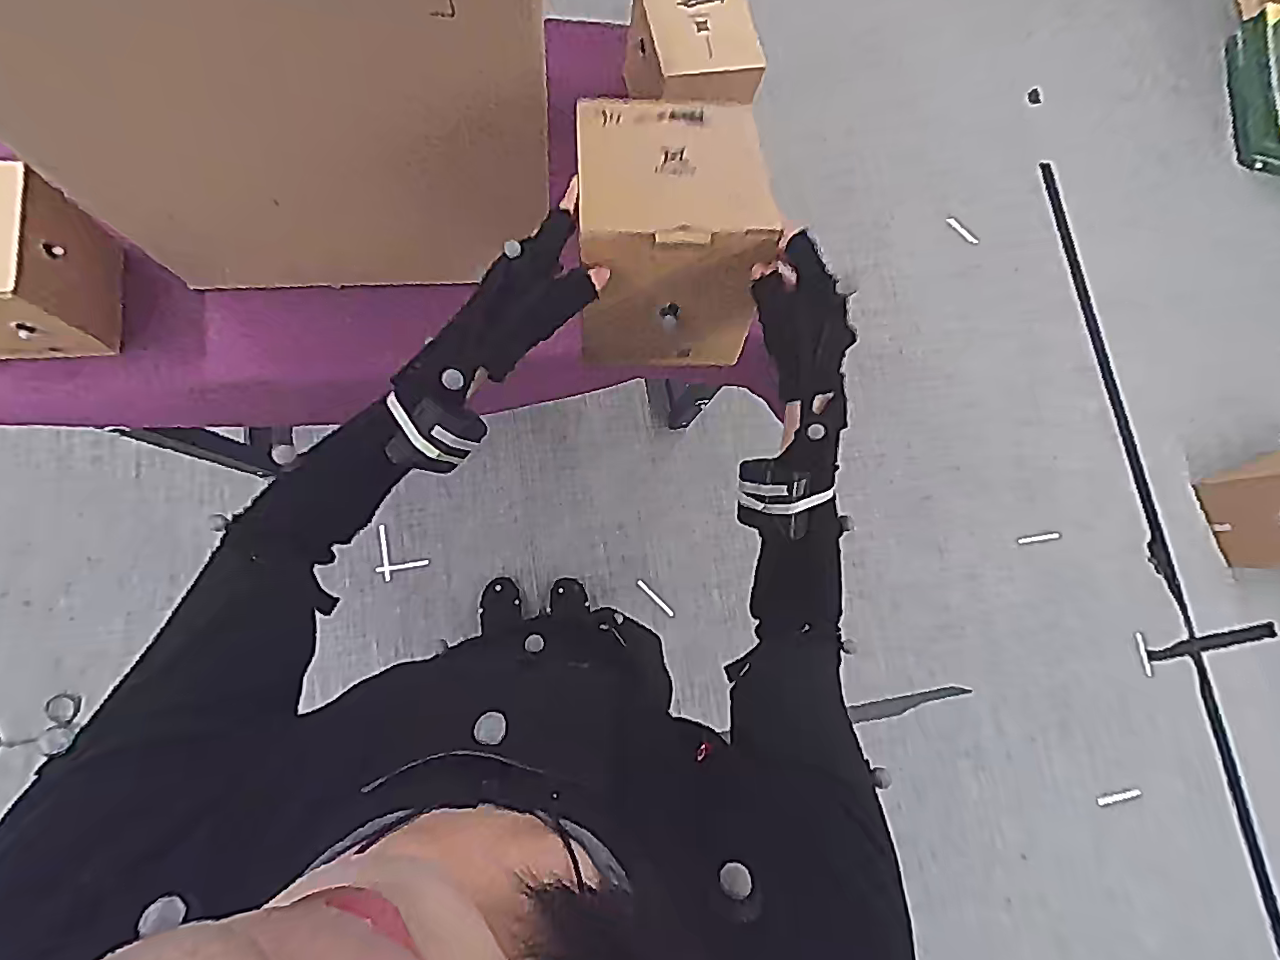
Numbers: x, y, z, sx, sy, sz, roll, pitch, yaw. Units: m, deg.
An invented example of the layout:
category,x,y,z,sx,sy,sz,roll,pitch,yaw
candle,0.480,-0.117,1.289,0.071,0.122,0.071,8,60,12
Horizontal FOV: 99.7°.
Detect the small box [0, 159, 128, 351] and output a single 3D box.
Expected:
category,x,y,z,sx,sy,sz,roll,pitch,yaw
small box,-0.805,-0.273,0.687,0.168,0.176,0.179,-5,79,-13
